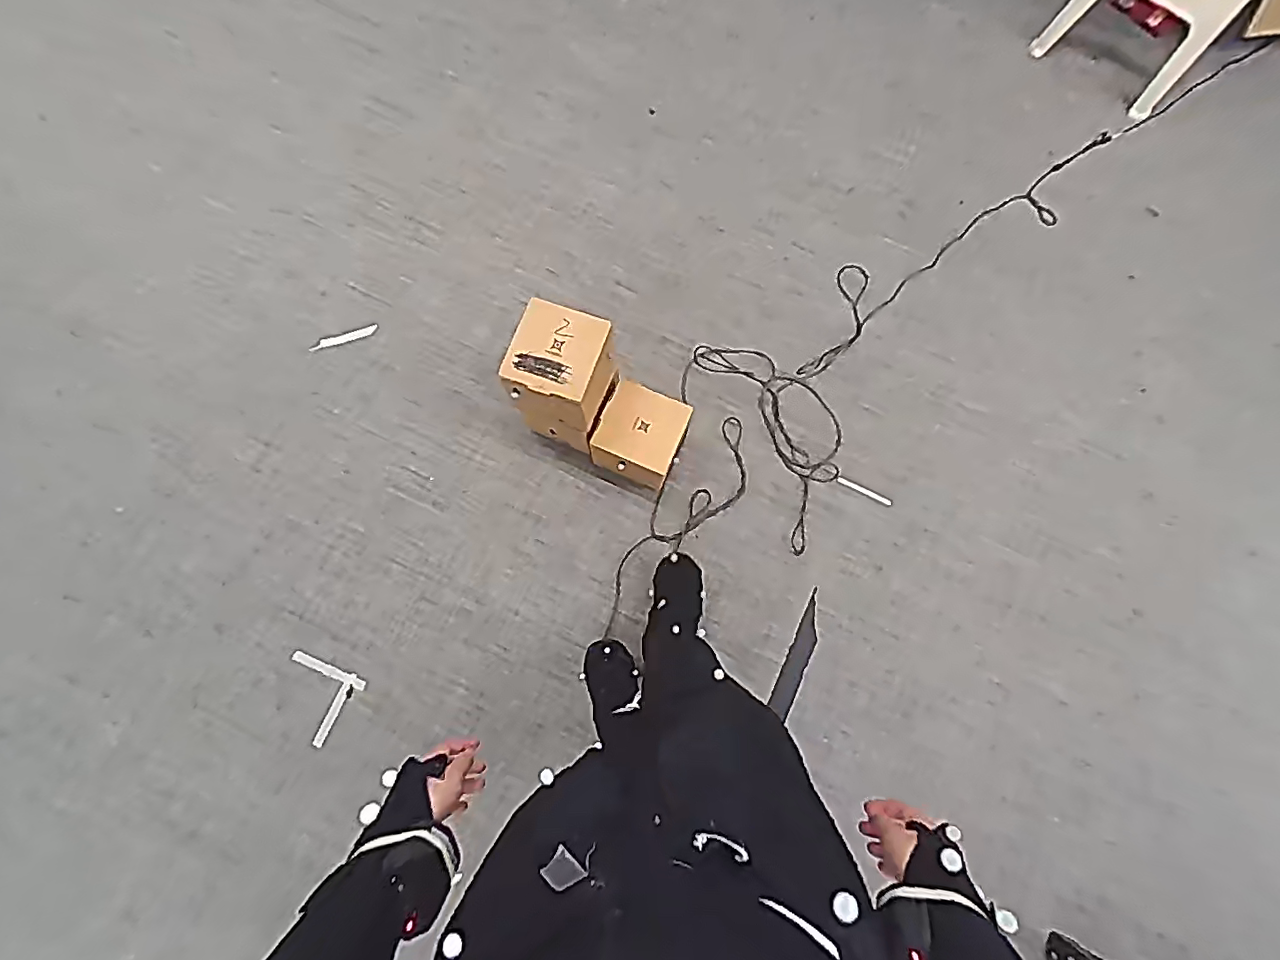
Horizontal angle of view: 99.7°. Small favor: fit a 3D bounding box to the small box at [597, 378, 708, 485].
[{"bbox_3d":[0.022,-0.101,1.152,0.179,0.176,0.168,-39,95,1],"label":"small box"}]
